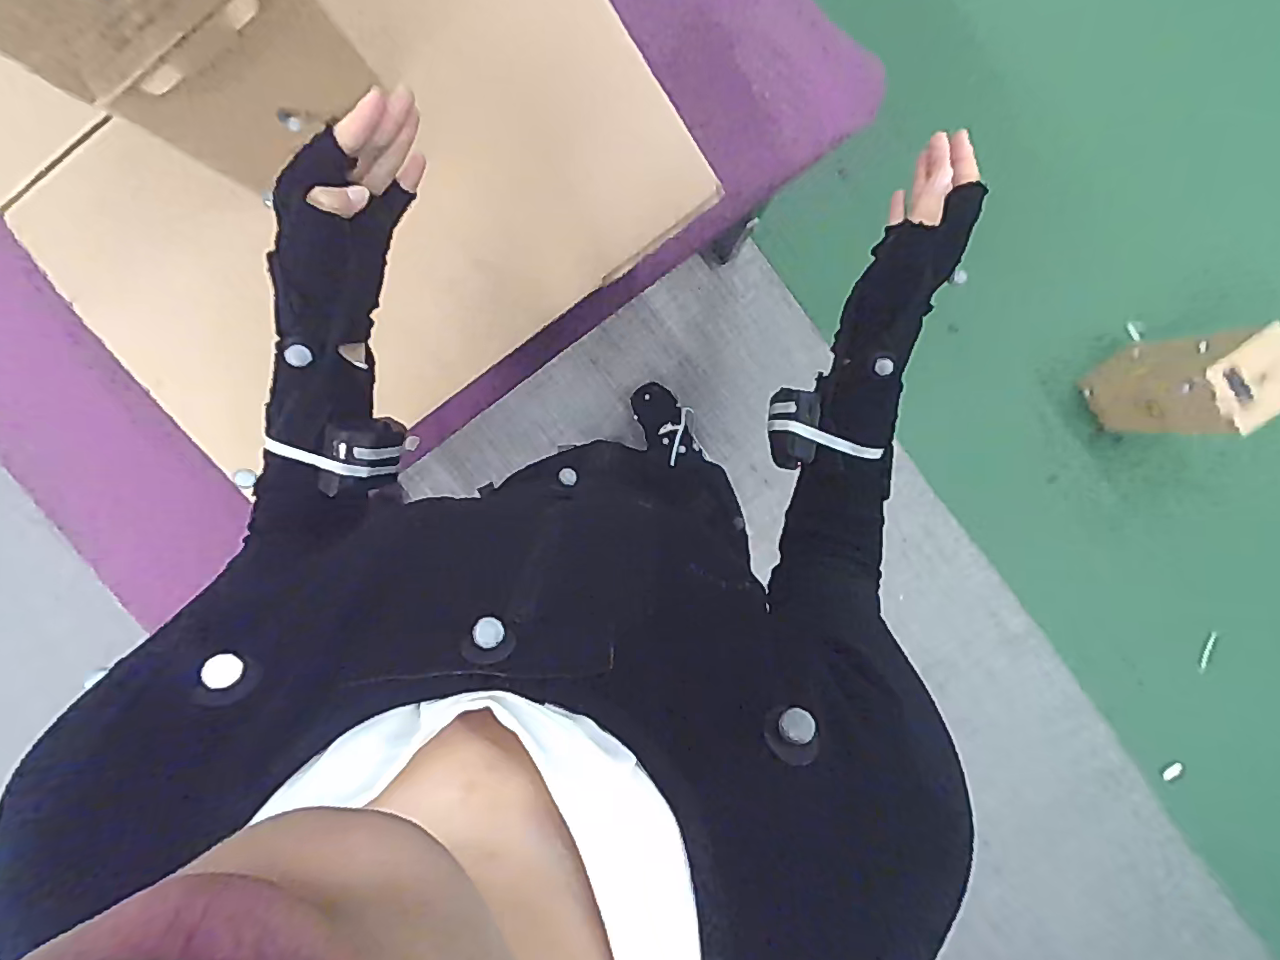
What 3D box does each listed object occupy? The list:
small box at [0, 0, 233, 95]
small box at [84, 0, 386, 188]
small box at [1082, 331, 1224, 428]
[{"bbox_3d":[-0.354,-0.361,0.278,0.168,0.176,0.179,-37,95,5],"label":"small box"},{"bbox_3d":[-0.354,-0.385,0.440,0.168,0.176,0.179,-35,95,5],"label":"small box"},{"bbox_3d":[1.273,-0.247,1.361,0.179,0.176,0.168,-36,96,4],"label":"small box"}]
